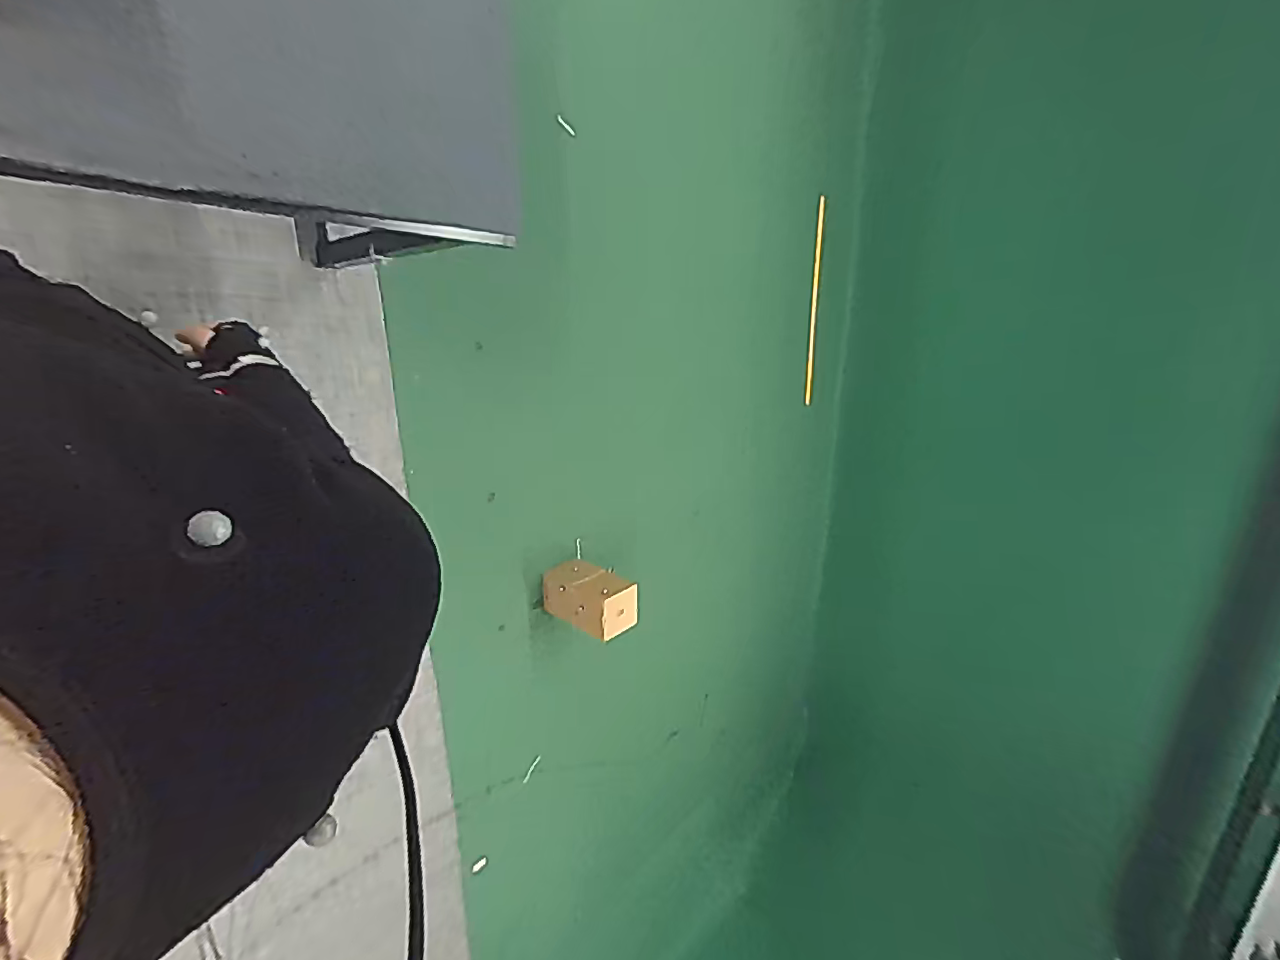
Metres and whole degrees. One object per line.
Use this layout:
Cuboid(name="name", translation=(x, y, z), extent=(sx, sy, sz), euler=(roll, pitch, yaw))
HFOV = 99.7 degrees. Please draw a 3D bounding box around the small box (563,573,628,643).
Cuboid(name="small box", translation=(-0.162, 0.458, 1.974), extent=(0.179, 0.176, 0.168), euler=(-17, 114, -47))
